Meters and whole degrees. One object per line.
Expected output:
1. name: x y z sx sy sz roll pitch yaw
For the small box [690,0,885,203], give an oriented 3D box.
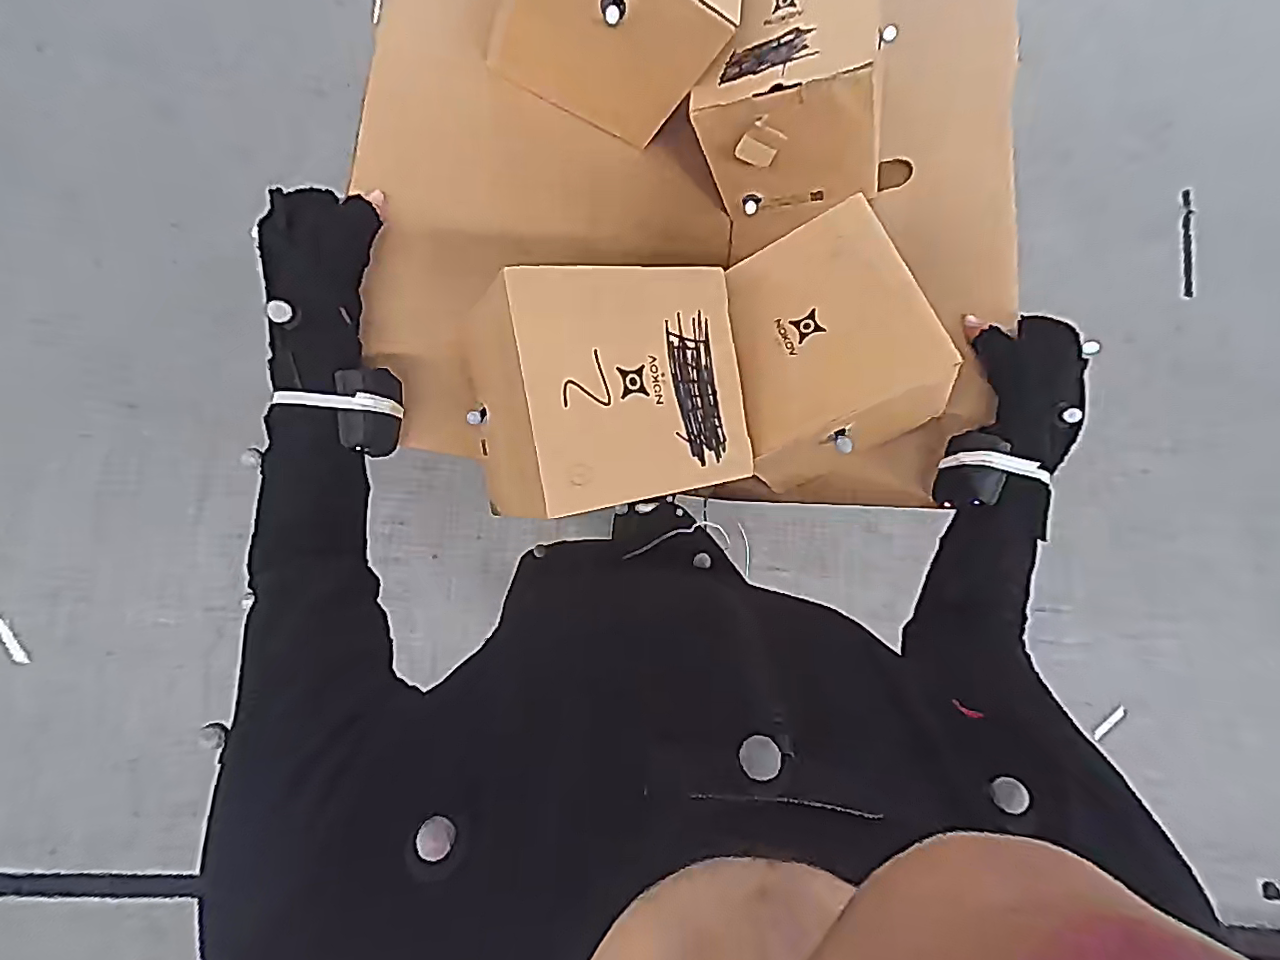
1. small box: 0.164 -0.421 0.571 0.168 0.176 0.179 4 79 24
